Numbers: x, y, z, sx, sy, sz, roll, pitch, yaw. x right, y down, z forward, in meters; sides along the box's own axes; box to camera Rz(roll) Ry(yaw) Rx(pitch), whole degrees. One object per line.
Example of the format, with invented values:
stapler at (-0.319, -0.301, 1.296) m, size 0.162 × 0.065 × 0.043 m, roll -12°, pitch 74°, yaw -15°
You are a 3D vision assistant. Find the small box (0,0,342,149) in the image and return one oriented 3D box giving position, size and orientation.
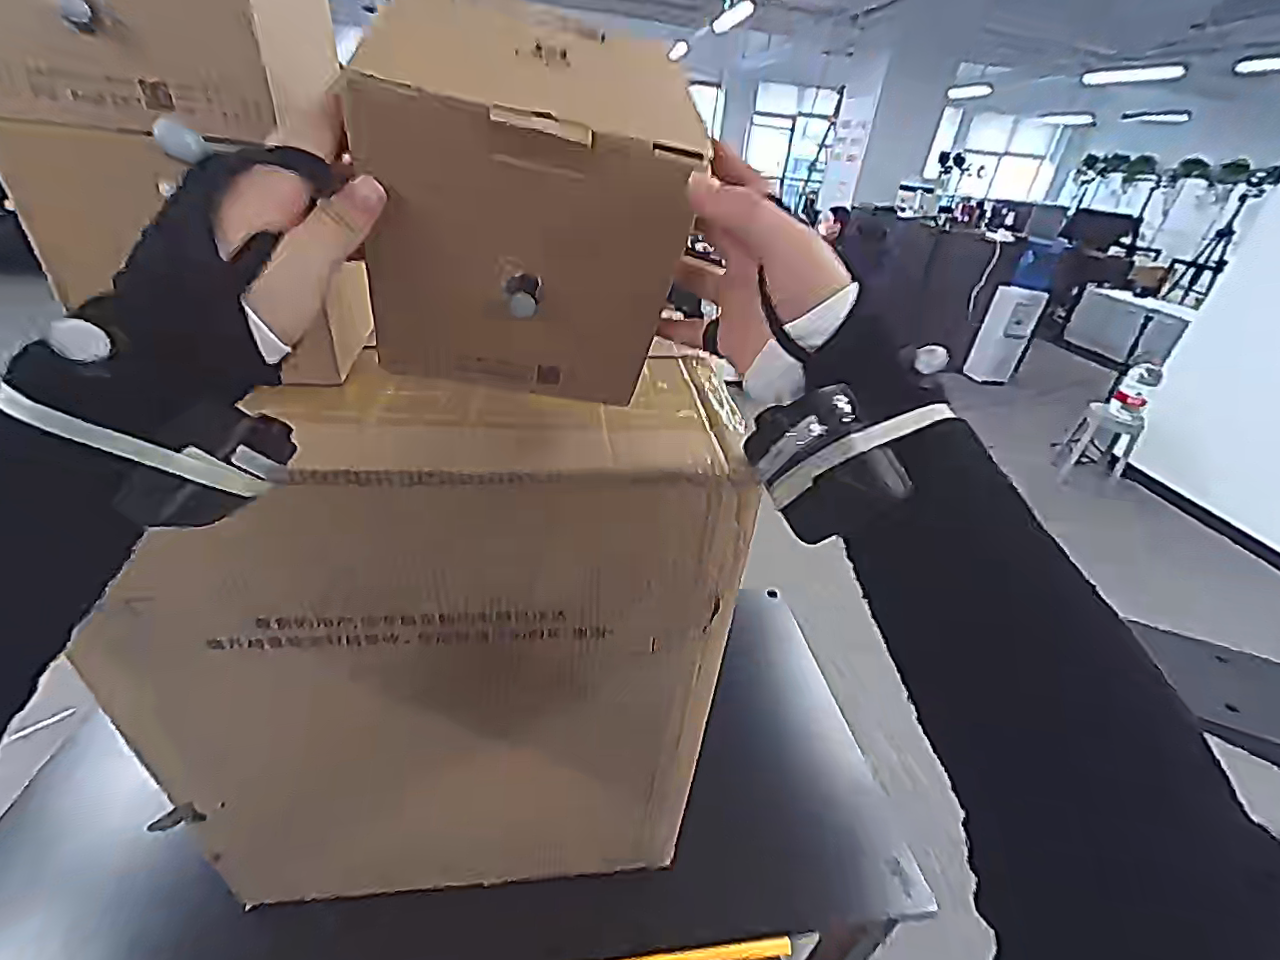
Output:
small box at (-0.312, -0.321, 0.348) m, size 0.168 × 0.176 × 0.179 m, roll -2°, pitch 34°, yaw -12°

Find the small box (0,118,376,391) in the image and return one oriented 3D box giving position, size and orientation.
small box at (-0.325, -0.184, 0.440) m, size 0.168 × 0.176 × 0.179 m, roll -3°, pitch 35°, yaw -14°

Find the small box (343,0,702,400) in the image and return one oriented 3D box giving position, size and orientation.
small box at (-0.072, -0.174, 0.356) m, size 0.168 × 0.176 × 0.179 m, roll 5°, pitch 50°, yaw -14°
